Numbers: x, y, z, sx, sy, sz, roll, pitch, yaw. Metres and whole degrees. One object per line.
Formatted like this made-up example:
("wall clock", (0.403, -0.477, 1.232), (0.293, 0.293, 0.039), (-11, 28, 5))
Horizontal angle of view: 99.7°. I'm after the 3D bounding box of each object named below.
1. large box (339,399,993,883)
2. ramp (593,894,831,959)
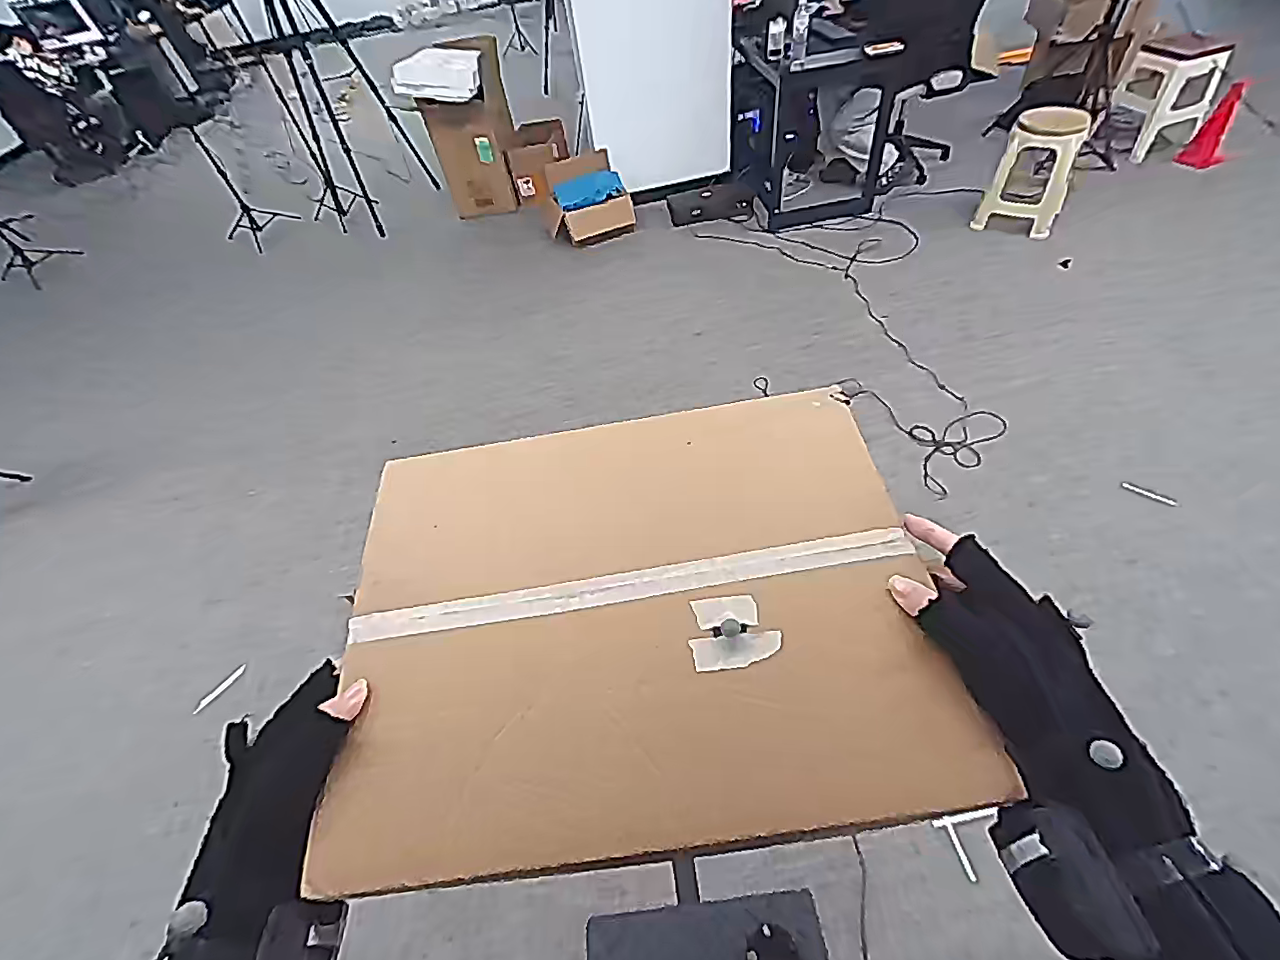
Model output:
("large box", (0.011, 0.167, 0.524), (0.408, 0.320, 0.320), (-9, 55, 2))
("ramp", (0.171, 1.242, 0.785), (0.509, 0.206, 0.991), (-11, 48, 2))
